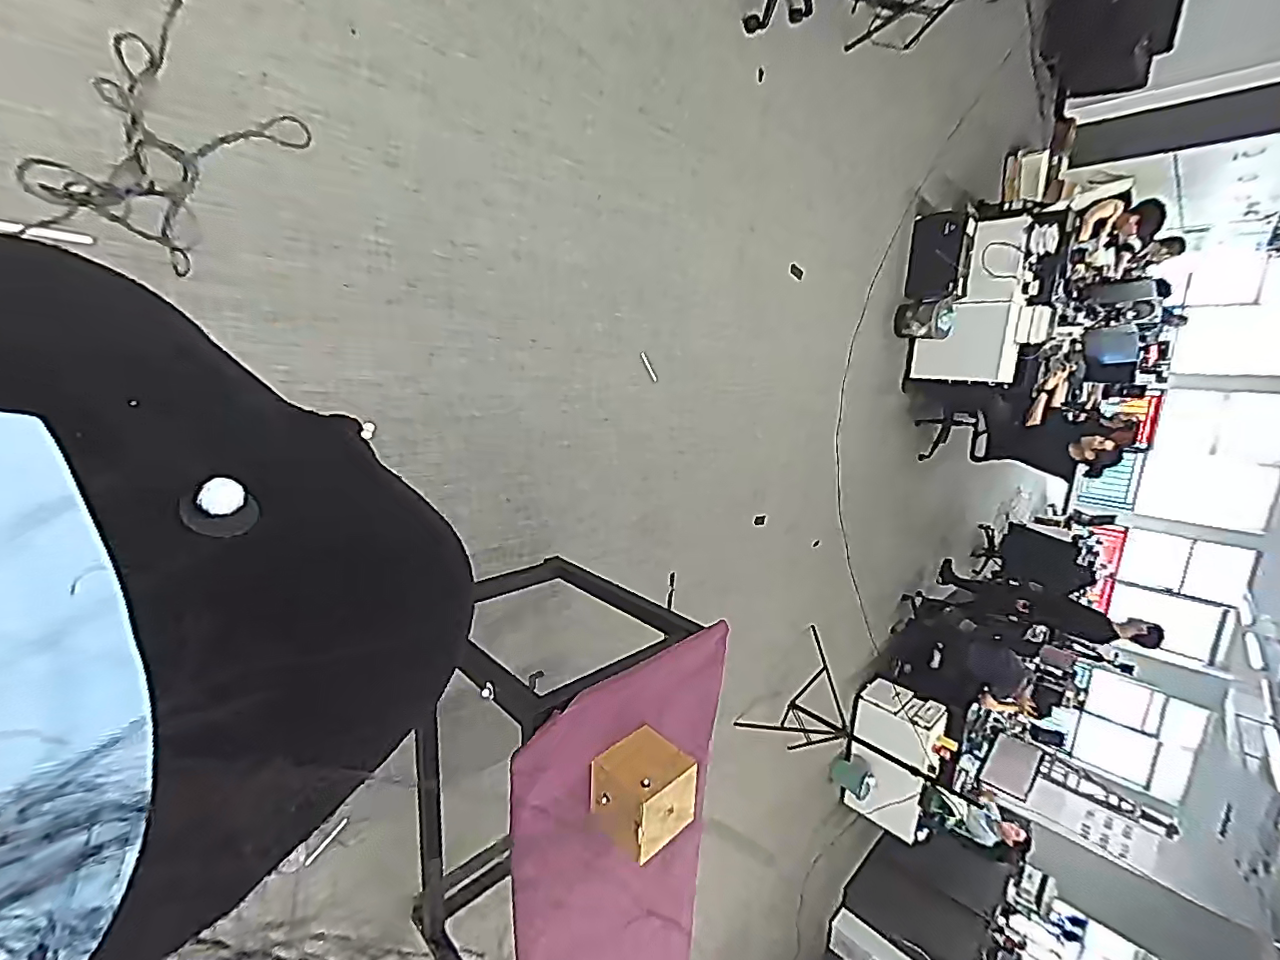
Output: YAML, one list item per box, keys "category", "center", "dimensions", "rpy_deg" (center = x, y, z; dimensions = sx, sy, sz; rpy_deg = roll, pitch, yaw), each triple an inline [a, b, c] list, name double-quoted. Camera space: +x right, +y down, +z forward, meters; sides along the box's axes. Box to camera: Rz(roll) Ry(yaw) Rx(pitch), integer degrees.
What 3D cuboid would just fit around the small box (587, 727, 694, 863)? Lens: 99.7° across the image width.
- category: "small box"
  center: [0.000, 0.706, 1.237]
  dimensions: [0.179, 0.176, 0.168]
  rpy_deg: [-12, 111, -43]
